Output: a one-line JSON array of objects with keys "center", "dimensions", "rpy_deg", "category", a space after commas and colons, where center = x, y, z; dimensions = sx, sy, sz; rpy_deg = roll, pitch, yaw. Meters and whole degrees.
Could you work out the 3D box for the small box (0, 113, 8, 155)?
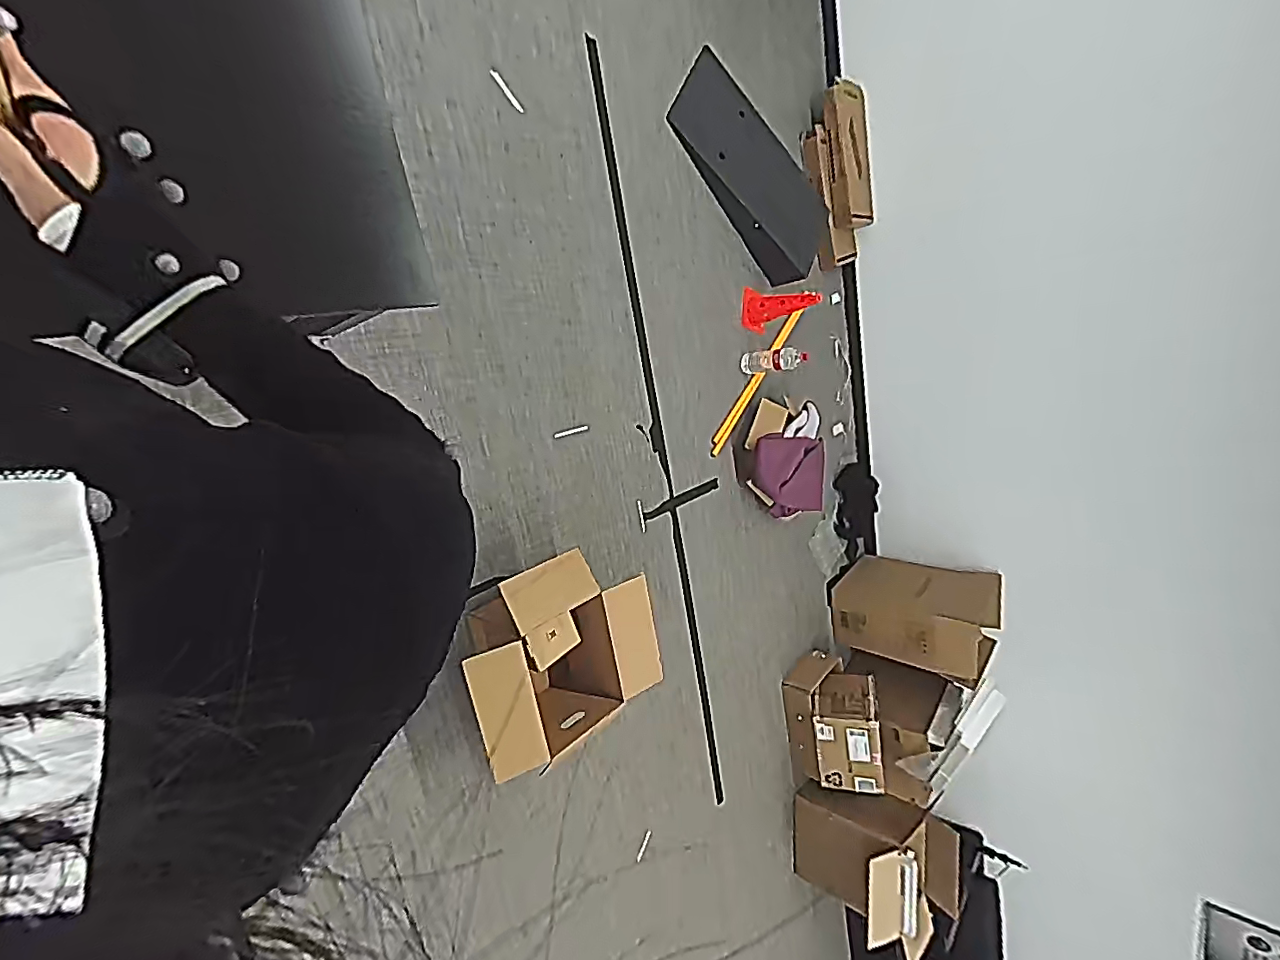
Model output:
[{"center": [-0.511, -0.287, 0.303], "dimensions": [0.179, 0.176, 0.168], "rpy_deg": [-20, 120, -44], "category": "small box"}]
